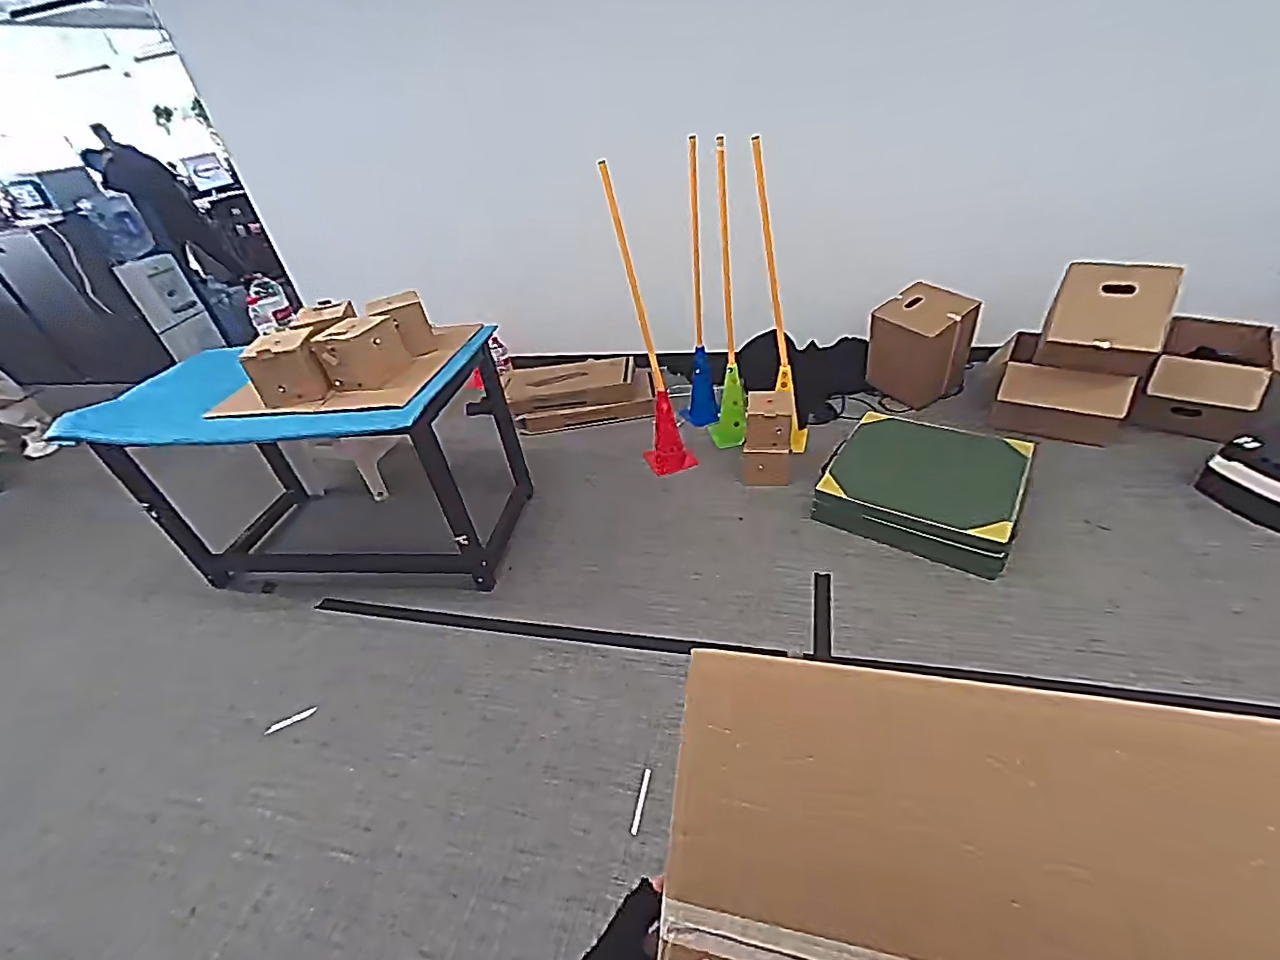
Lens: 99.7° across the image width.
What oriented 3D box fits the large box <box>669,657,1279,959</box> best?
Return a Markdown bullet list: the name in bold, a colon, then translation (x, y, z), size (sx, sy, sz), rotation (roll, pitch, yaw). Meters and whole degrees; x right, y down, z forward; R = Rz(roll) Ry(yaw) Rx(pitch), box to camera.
- **large box**: translation (0.246, 0.333, 0.410), size (0.408, 0.320, 0.320), rotation (2, 67, 17)
